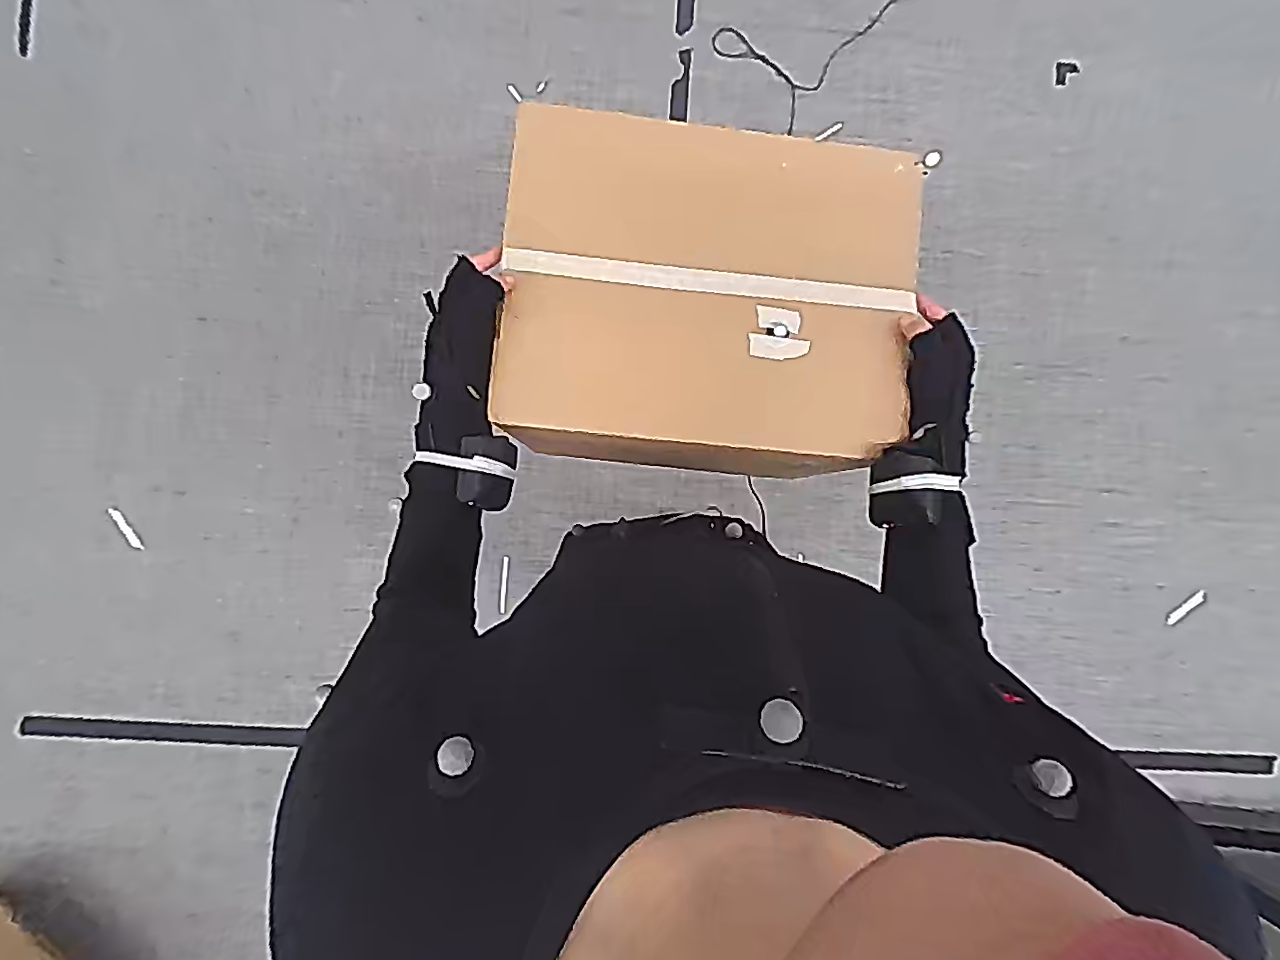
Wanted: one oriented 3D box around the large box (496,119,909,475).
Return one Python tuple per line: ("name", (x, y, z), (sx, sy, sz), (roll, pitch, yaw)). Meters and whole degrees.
("large box", (0.057, -0.182, 0.685), (0.408, 0.320, 0.320), (6, 88, -4))
